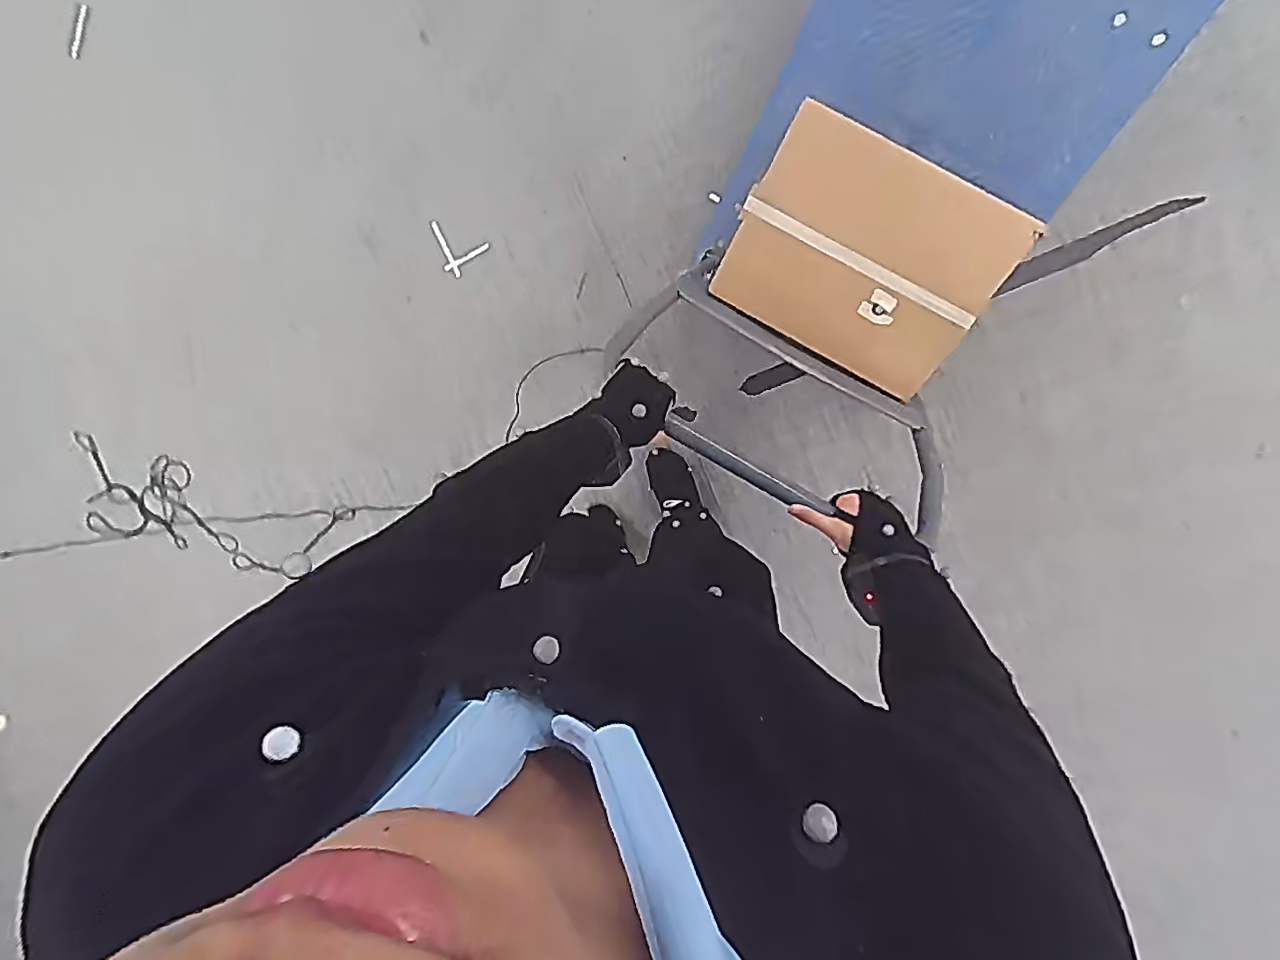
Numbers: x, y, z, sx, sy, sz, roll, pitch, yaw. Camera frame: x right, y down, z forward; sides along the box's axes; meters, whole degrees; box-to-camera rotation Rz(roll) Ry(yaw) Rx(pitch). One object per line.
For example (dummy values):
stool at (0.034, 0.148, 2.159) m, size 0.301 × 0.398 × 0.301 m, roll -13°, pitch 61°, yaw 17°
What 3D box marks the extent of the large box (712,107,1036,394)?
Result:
large box at (0.398, -0.424, 1.015) m, size 0.408 × 0.320 × 0.320 m, roll 29°, pitch 122°, yaw 2°
